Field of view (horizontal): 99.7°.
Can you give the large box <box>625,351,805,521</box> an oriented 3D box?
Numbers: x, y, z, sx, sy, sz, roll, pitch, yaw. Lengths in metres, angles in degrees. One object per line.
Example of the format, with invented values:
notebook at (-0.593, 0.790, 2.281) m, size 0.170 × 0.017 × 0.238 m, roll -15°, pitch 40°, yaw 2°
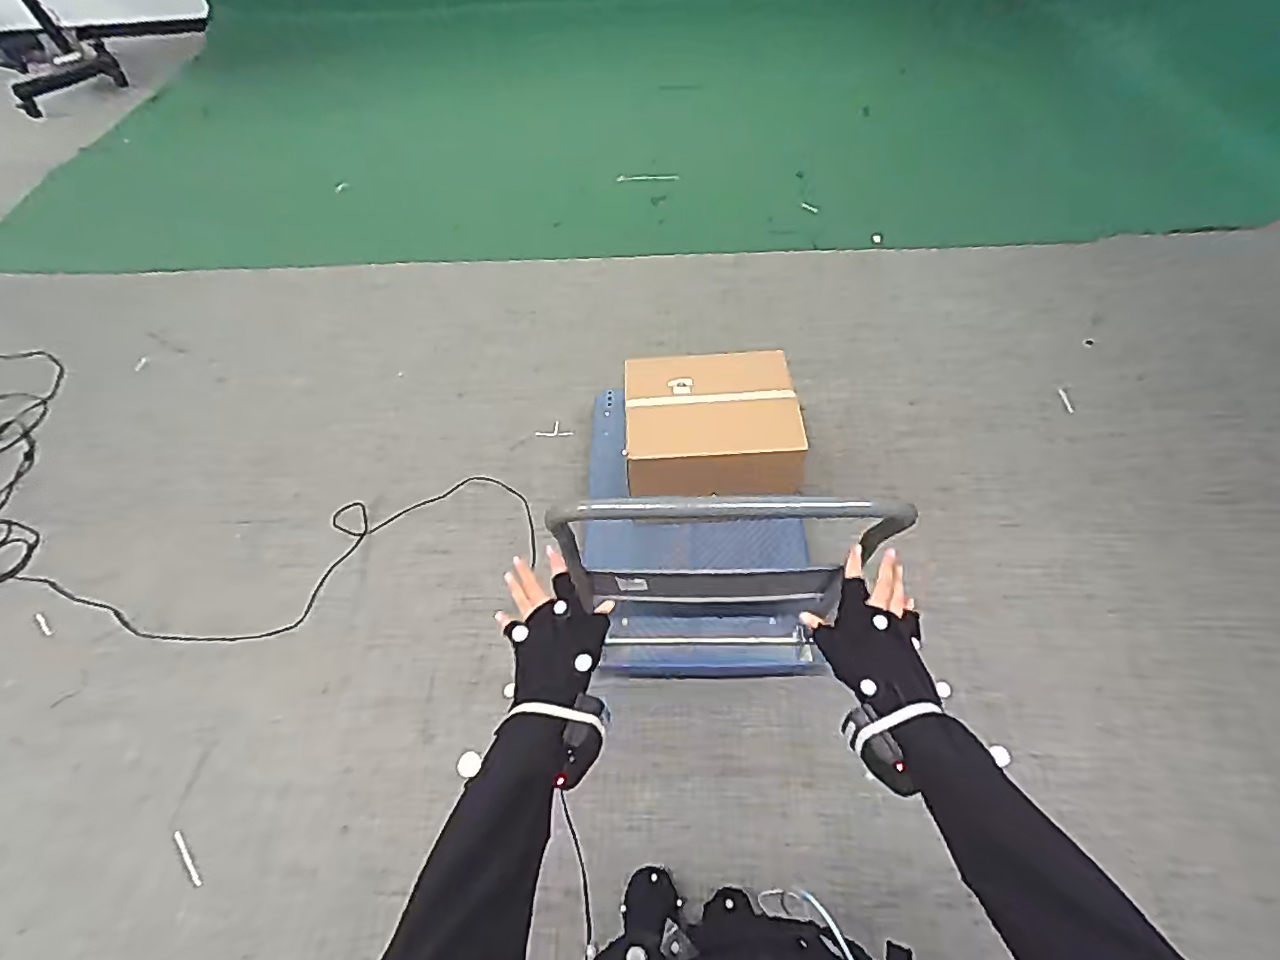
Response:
large box at (0.176, -0.105, 1.415) m, size 0.408 × 0.320 × 0.320 m, roll -4°, pitch 56°, yaw 2°
